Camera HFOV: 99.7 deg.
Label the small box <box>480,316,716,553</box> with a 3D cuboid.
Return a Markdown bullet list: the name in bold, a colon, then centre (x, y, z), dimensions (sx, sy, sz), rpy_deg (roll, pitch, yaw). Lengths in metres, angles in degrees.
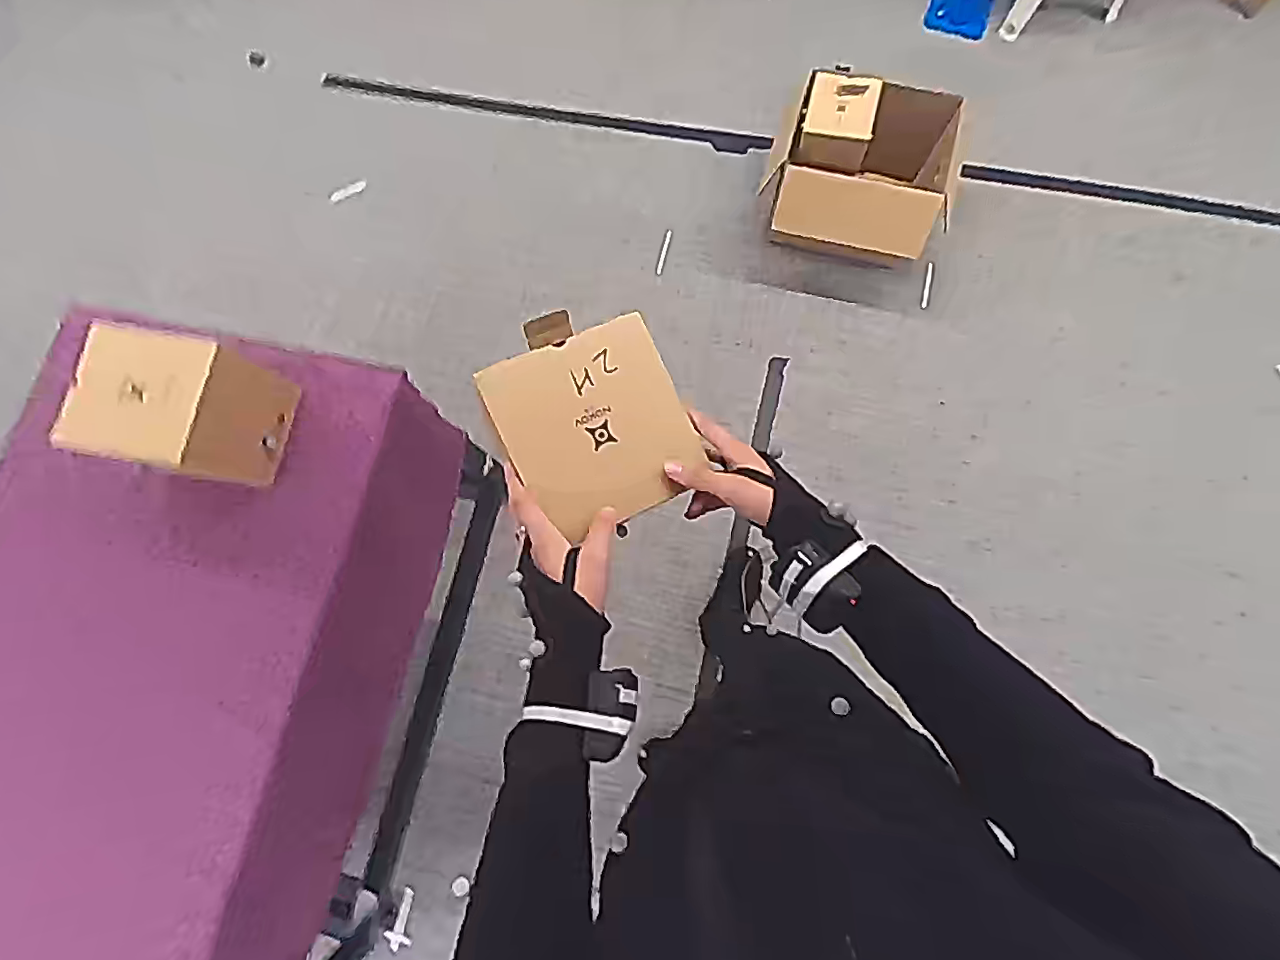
- **small box**: centre (-0.050, -0.037, 0.567), dimensions (0.168, 0.176, 0.179), rpy_deg (-25, 87, -15)

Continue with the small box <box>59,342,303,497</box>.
- **small box**: centre (-0.634, -0.077, 0.770), dimensions (0.179, 0.176, 0.168), rpy_deg (8, 79, 6)
